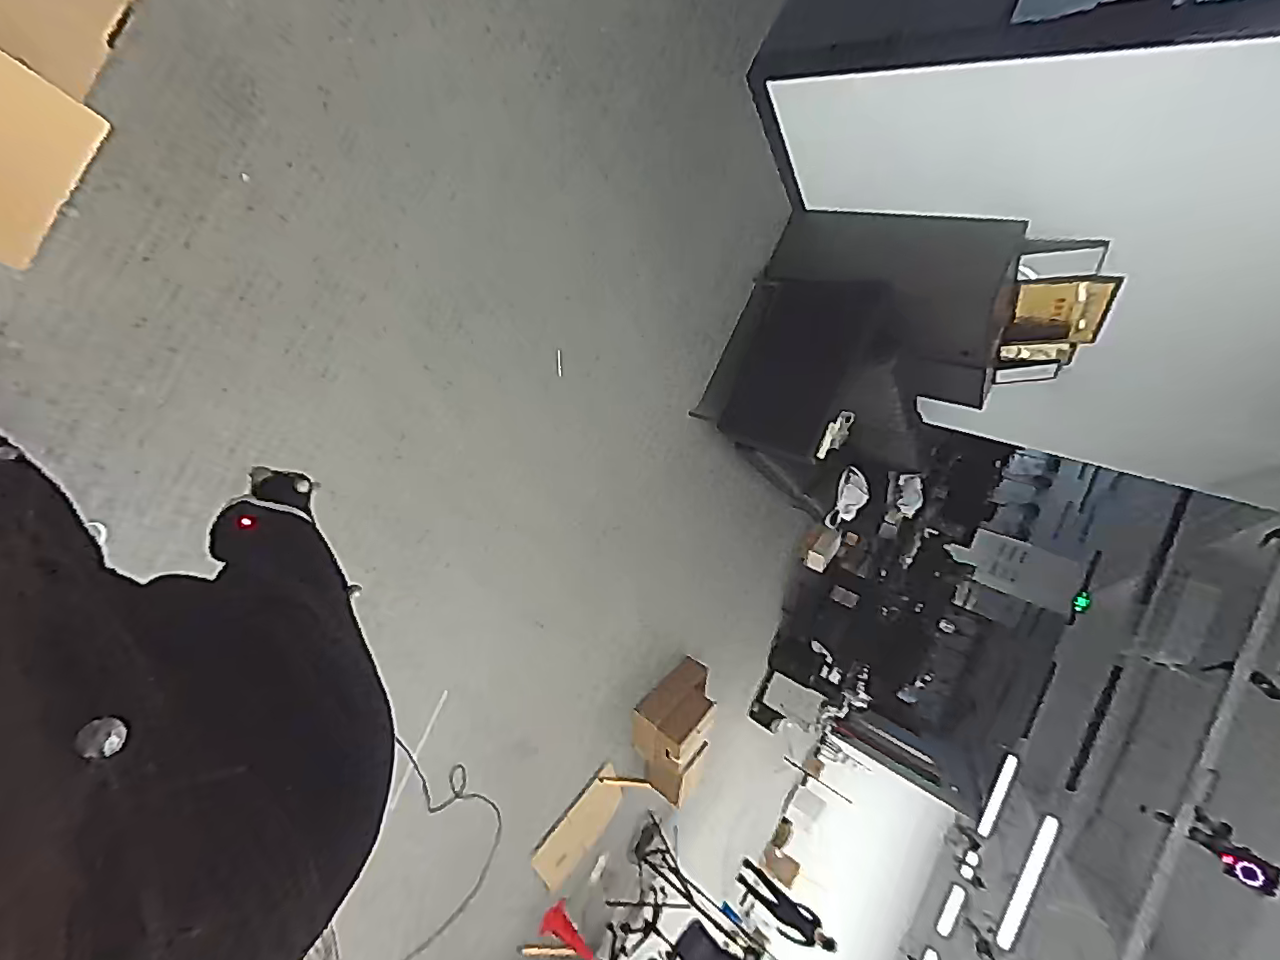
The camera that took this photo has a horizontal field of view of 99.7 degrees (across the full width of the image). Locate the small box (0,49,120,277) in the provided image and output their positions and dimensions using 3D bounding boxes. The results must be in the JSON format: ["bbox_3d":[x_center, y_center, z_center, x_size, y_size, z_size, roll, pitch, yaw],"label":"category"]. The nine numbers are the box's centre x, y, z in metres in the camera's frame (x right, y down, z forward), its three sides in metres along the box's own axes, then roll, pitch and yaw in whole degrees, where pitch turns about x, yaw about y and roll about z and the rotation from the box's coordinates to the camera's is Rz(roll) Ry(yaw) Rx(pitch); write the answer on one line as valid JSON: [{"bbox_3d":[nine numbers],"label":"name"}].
[{"bbox_3d":[-0.661,-0.326,0.514,0.168,0.176,0.179,32,82,-57],"label":"small box"}]
